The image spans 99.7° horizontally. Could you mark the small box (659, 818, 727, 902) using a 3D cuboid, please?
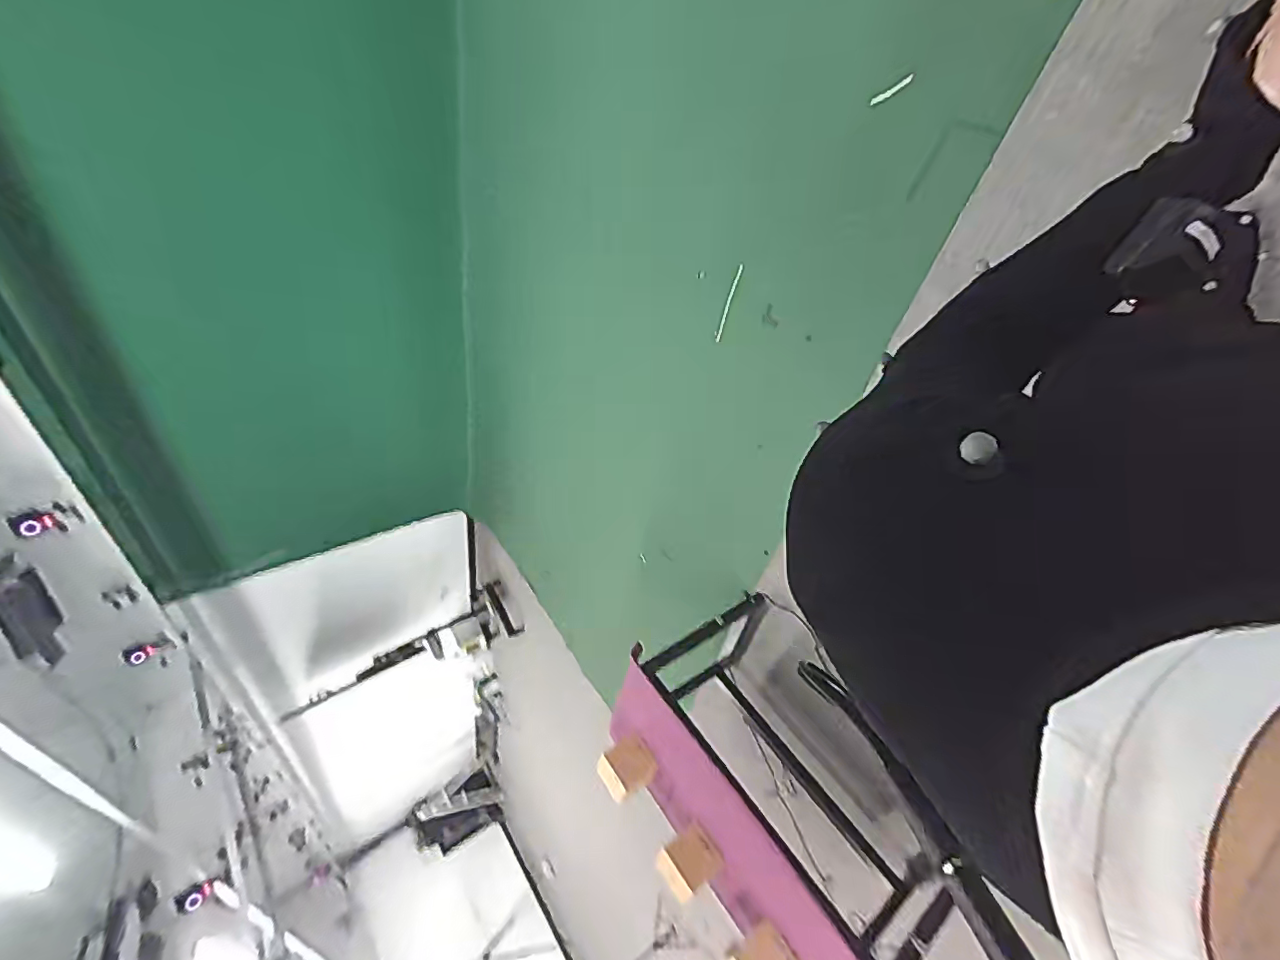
[{"bbox_3d":[0.196,1.393,1.988,0.168,0.176,0.179,45,139,32],"label":"small box"}]

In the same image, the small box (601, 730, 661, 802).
[{"bbox_3d":[-0.035,1.157,2.194,0.168,0.176,0.179,46,141,30],"label":"small box"}]

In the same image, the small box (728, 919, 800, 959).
[{"bbox_3d":[0.415,1.594,1.774,0.168,0.176,0.179,46,141,33],"label":"small box"}]
